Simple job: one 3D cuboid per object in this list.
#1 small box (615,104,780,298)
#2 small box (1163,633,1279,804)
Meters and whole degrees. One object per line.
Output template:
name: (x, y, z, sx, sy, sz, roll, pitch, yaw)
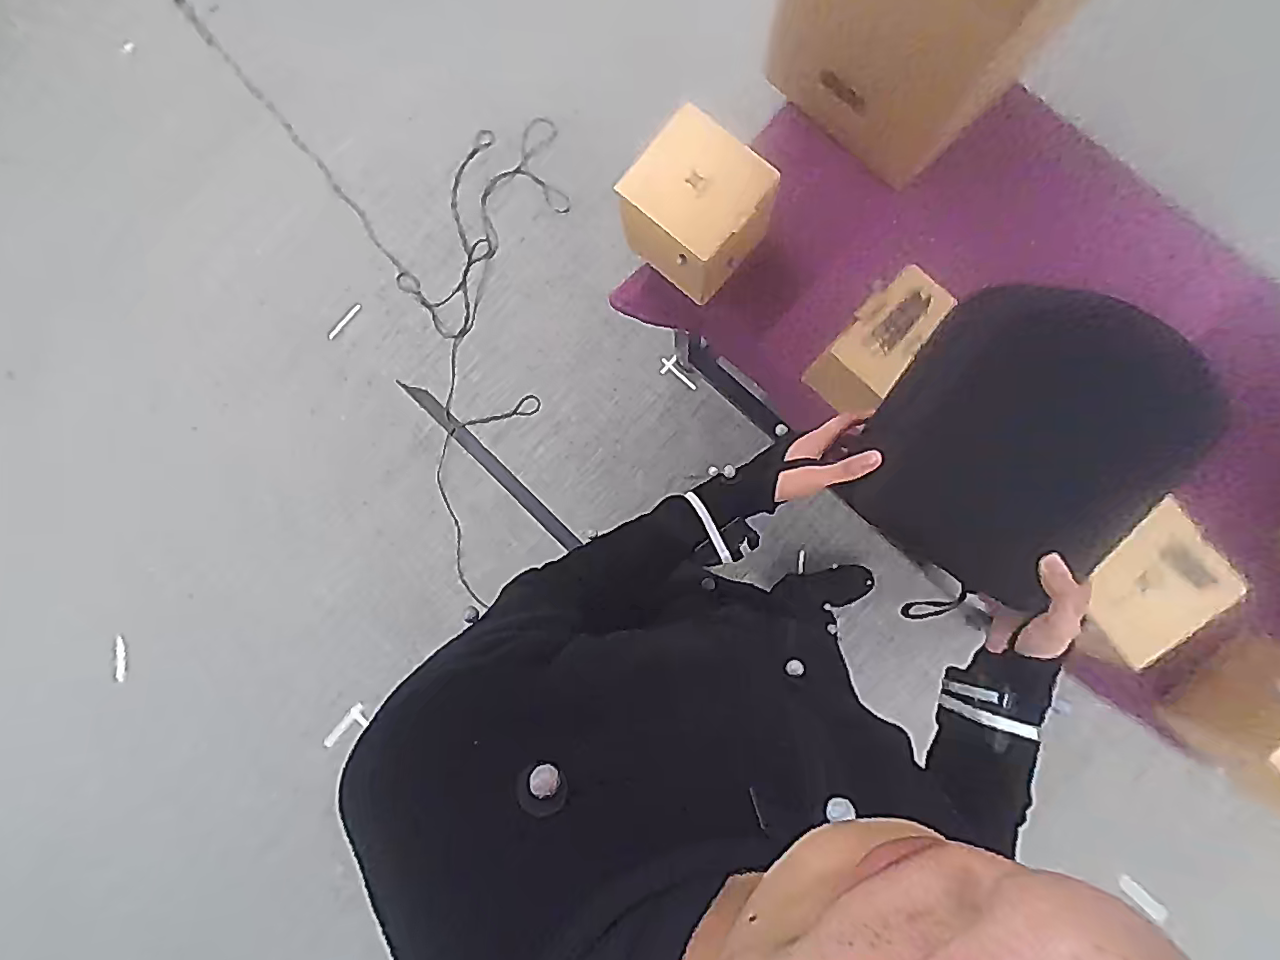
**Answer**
small box: (0.084, -0.416, 0.840, 0.179, 0.176, 0.168, 40, 91, 4)
small box: (0.906, 0.338, 0.745, 0.179, 0.176, 0.168, -42, 84, 2)
